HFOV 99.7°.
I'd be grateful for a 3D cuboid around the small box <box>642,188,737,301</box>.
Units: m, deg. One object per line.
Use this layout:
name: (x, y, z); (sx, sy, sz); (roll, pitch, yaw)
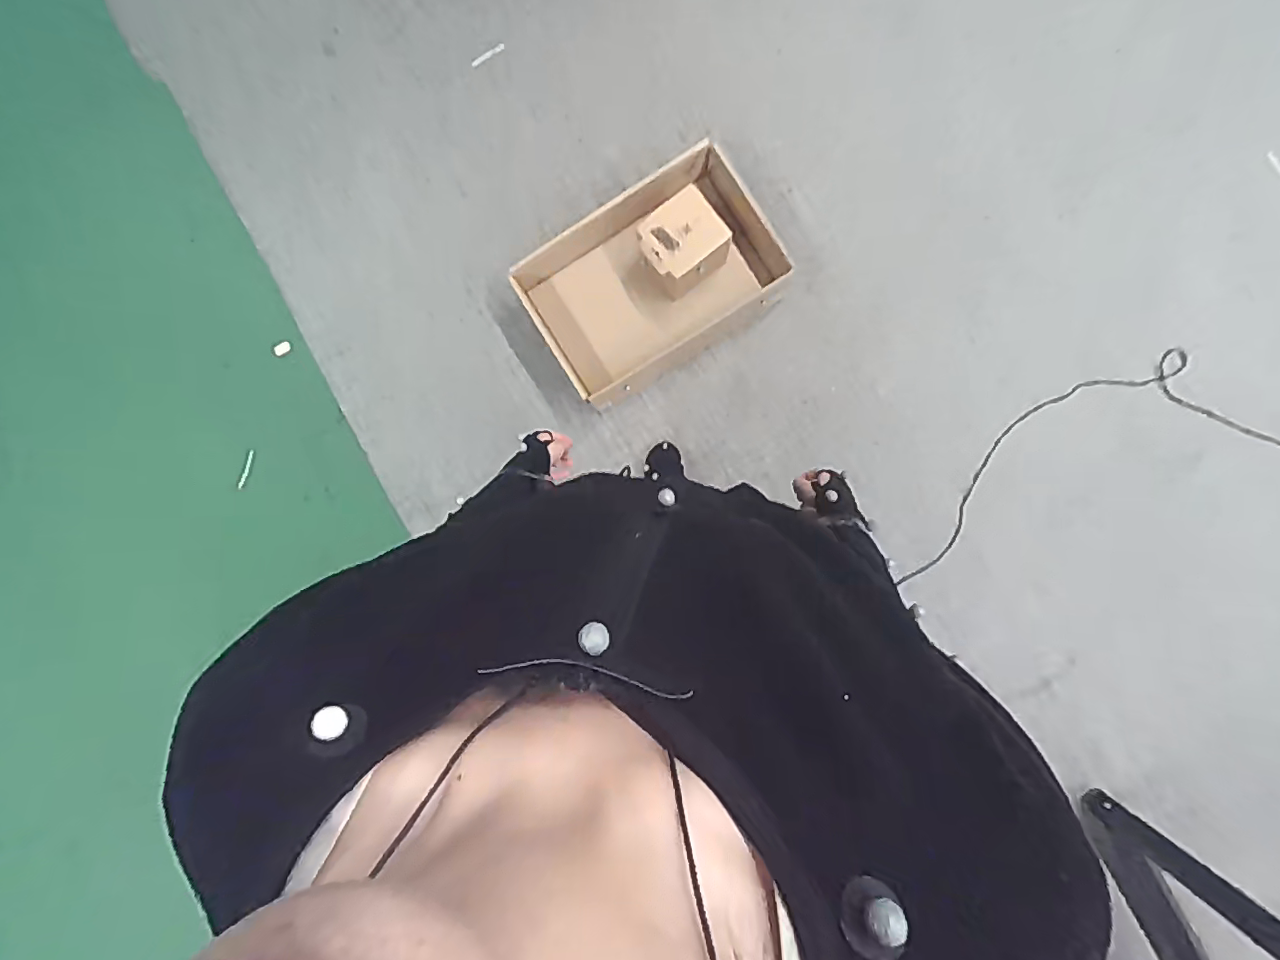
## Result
small box: (0.126, -0.593, 1.388); (0.179, 0.176, 0.168); (-38, 87, 3)
